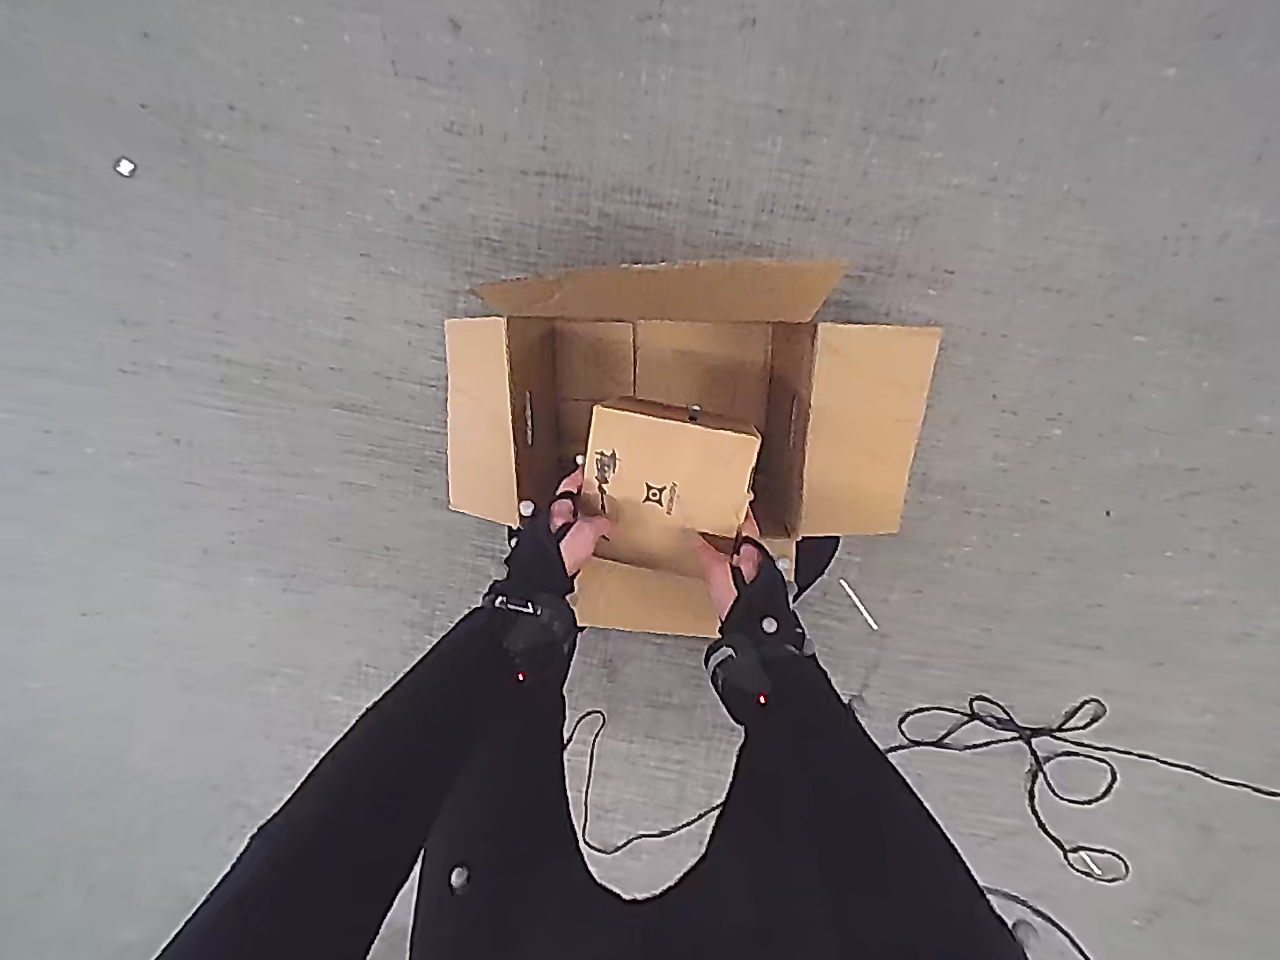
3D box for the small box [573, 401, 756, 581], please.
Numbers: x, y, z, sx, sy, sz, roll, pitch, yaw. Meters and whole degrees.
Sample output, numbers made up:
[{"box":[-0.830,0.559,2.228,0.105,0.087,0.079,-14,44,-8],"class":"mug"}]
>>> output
[{"box":[0.031,0.001,0.663,0.179,0.176,0.168,11,103,4],"class":"small box"}]
